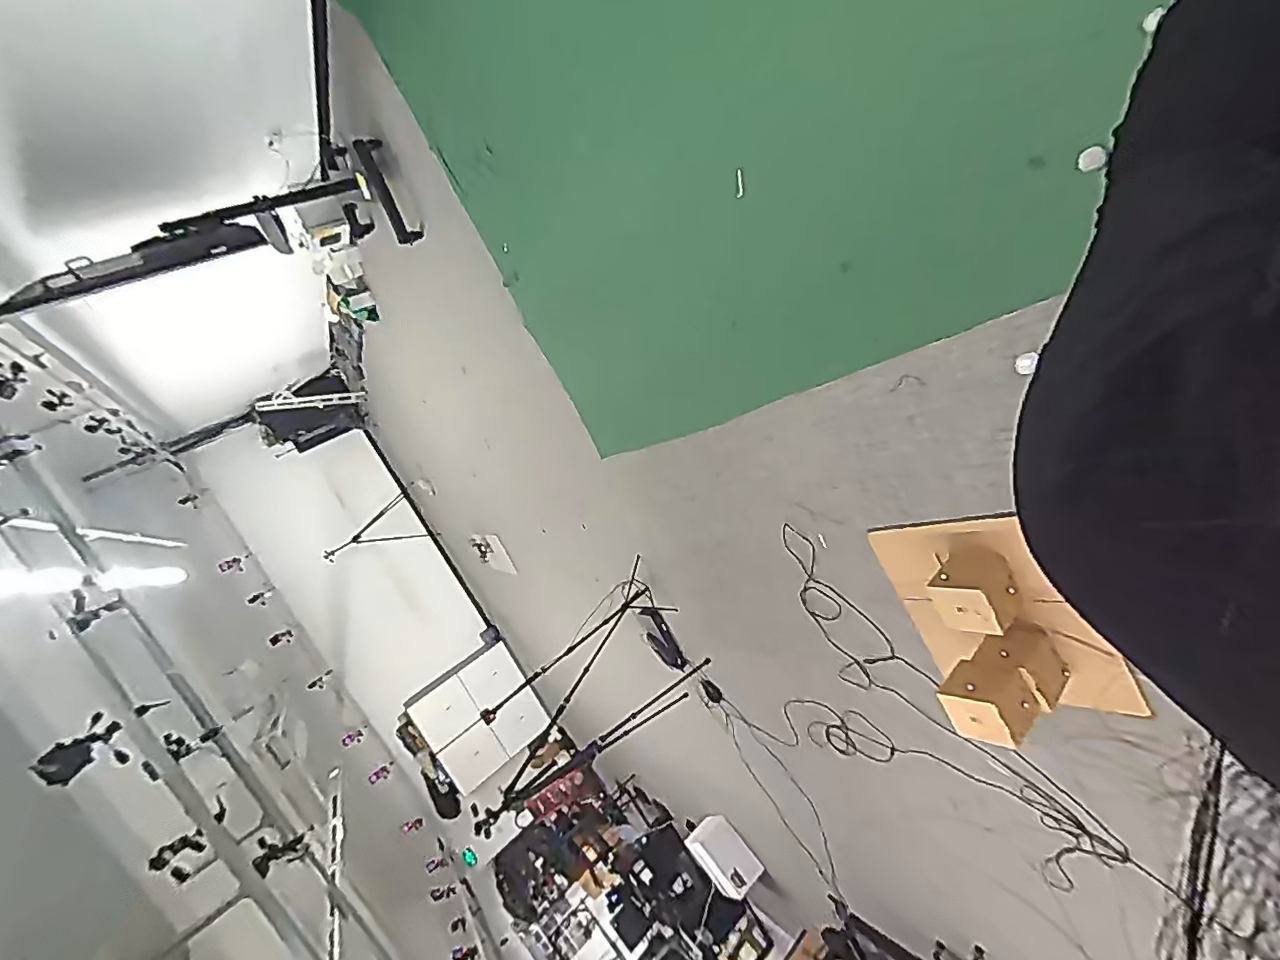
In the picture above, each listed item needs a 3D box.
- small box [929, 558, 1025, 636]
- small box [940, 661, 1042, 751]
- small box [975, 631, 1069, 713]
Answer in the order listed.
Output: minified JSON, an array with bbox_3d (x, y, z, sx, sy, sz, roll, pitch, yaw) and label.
[{"bbox_3d":[1.045,0.353,1.673,0.179,0.176,0.168,-13,109,59],"label":"small box"},{"bbox_3d":[1.059,0.671,1.630,0.168,0.176,0.179,60,151,-6],"label":"small box"},{"bbox_3d":[1.193,0.590,1.684,0.168,0.176,0.179,58,151,-3],"label":"small box"}]
